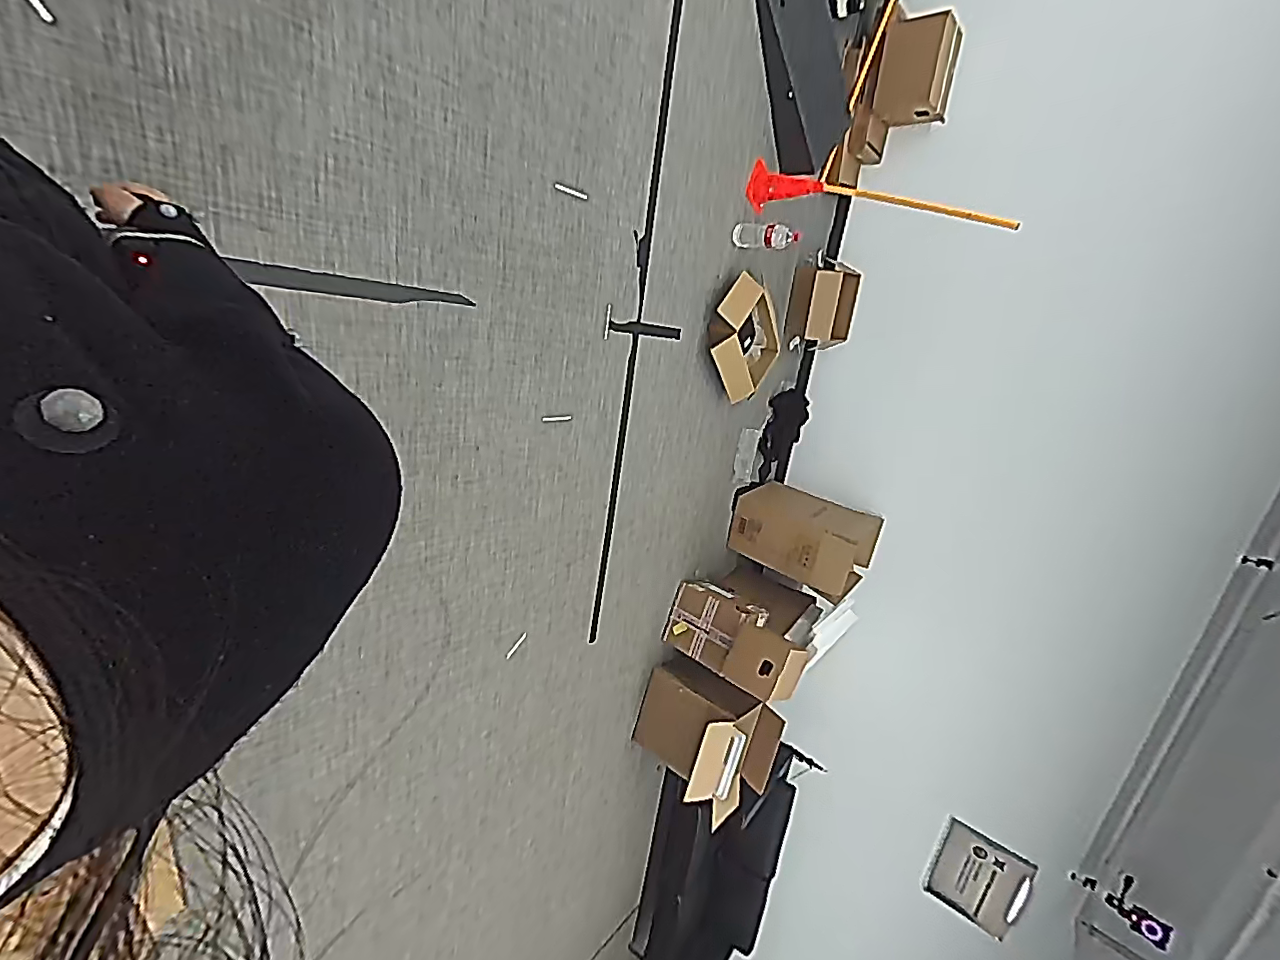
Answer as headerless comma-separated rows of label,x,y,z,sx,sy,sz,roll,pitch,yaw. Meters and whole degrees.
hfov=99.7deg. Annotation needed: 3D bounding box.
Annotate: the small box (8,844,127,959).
small box,-1.316,0.988,1.245,0.168,0.176,0.179,-9,115,-51
